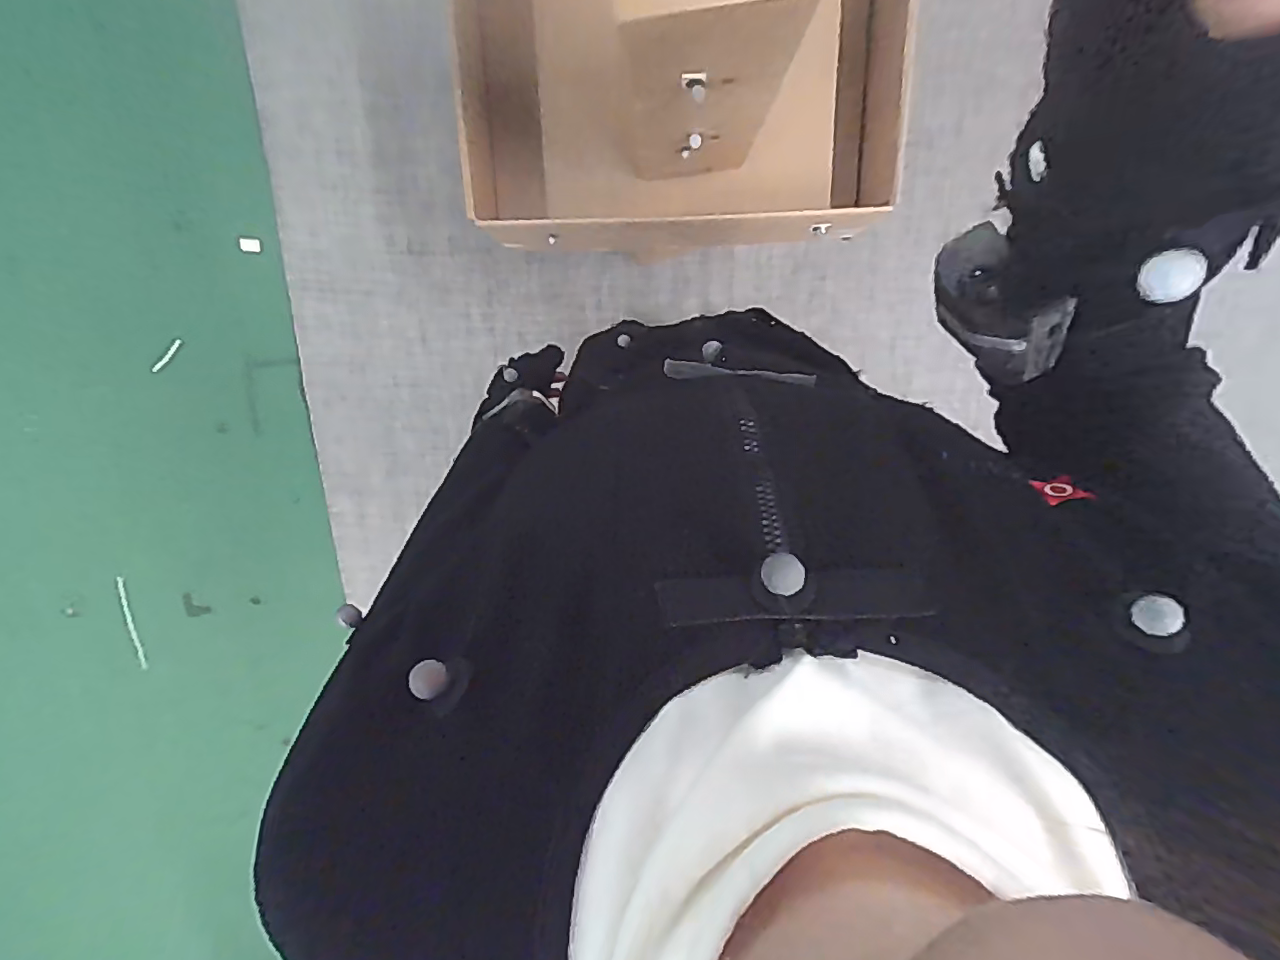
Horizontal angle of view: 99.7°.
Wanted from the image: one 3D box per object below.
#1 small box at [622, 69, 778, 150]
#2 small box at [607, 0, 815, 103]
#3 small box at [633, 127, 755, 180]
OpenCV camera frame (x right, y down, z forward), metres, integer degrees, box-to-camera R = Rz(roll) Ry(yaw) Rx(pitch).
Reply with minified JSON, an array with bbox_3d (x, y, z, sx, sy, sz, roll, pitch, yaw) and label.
[{"bbox_3d":[0.059,-0.513,0.626,0.168,0.176,0.179,-5,106,4],"label":"small box"},{"bbox_3d":[0.052,-0.469,0.471,0.168,0.176,0.179,-5,106,5],"label":"small box"},{"bbox_3d":[0.069,-0.561,0.782,0.168,0.176,0.179,-5,104,6],"label":"small box"}]
